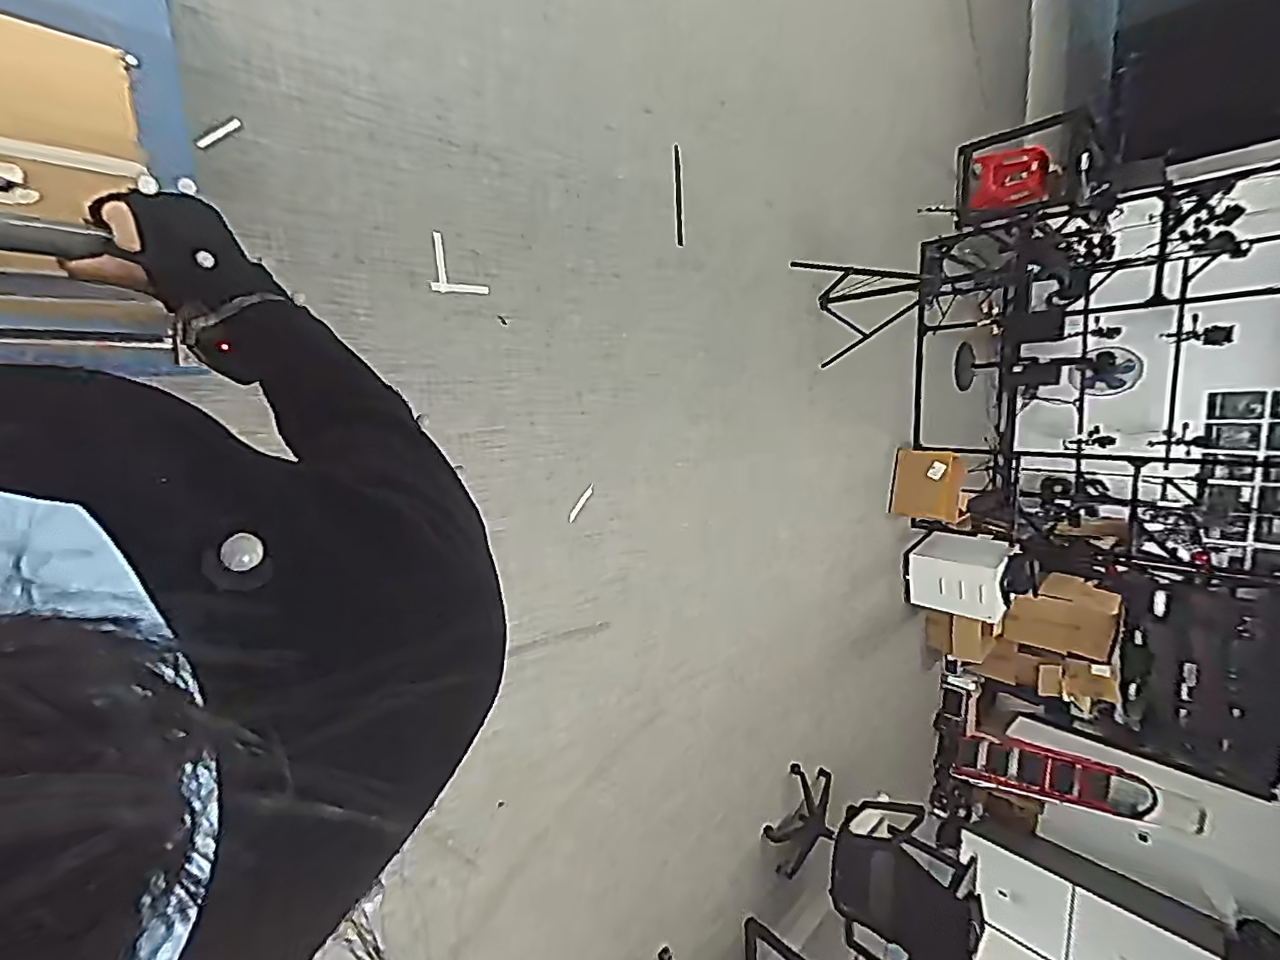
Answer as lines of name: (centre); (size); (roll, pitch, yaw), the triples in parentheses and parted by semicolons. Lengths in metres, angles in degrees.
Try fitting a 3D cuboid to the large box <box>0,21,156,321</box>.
large box: (-0.937, -0.398, 0.711); (0.408, 0.320, 0.320); (-10, 102, -44)
